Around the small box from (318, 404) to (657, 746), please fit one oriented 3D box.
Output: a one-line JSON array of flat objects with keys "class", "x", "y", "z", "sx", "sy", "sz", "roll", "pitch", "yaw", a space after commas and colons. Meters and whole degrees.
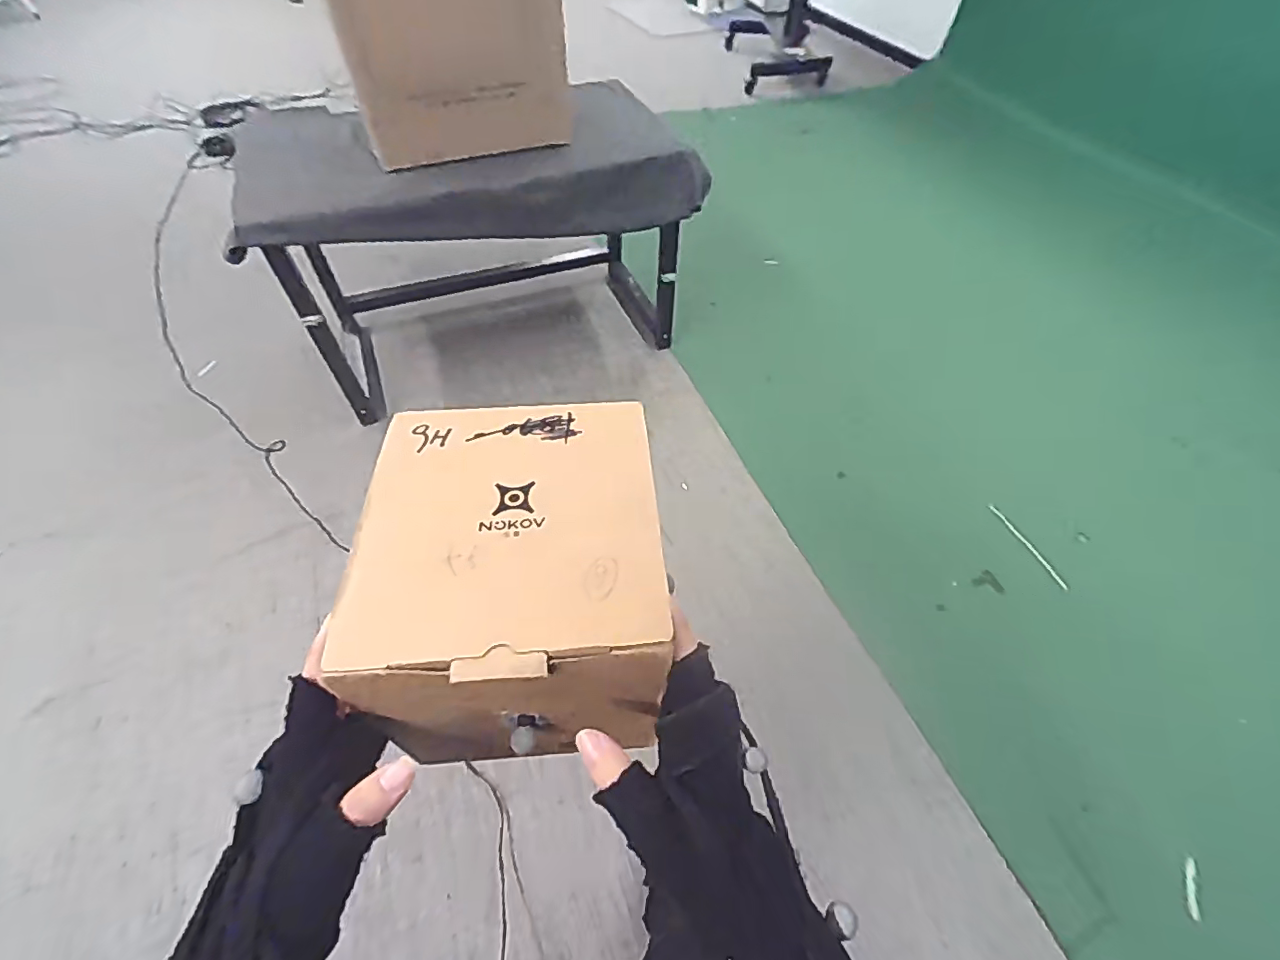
[{"class": "small box", "x": -0.078, "y": 0.071, "z": 0.370, "sx": 0.168, "sy": 0.176, "sz": 0.179, "roll": -3, "pitch": 51, "yaw": -4}]
